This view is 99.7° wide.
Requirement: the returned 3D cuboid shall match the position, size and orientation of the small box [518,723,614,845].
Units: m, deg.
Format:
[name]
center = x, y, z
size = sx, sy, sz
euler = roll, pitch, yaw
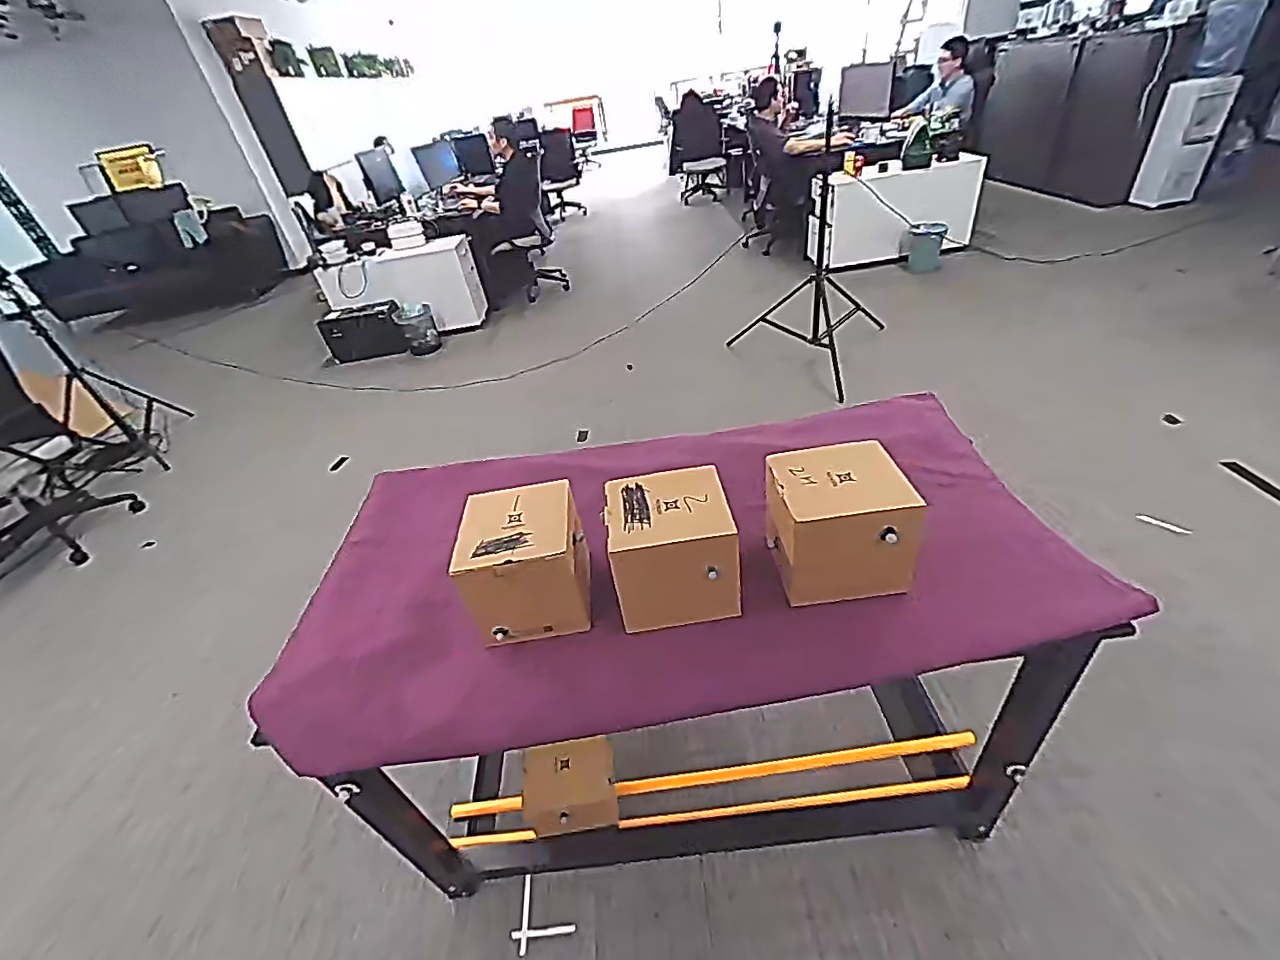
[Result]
[small box]
center = -0.156, 0.660, 1.174
size = 0.179, 0.176, 0.168
euler = -12, 39, -1
